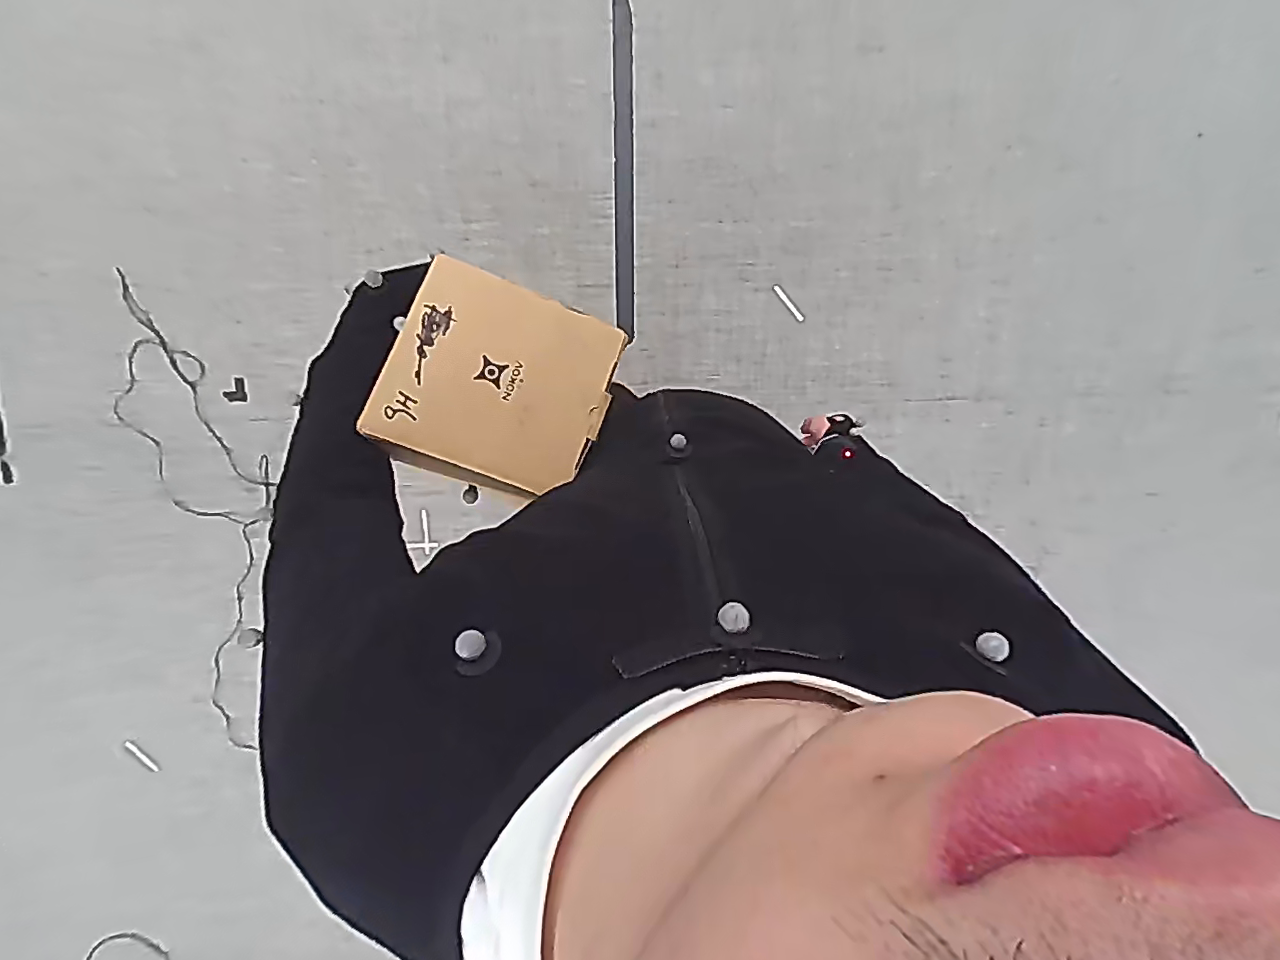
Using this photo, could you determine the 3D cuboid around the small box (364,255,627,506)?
[{"bbox_3d":[-0.134,-0.078,0.536,0.179,0.176,0.168,21,78,-11],"label":"small box"}]
